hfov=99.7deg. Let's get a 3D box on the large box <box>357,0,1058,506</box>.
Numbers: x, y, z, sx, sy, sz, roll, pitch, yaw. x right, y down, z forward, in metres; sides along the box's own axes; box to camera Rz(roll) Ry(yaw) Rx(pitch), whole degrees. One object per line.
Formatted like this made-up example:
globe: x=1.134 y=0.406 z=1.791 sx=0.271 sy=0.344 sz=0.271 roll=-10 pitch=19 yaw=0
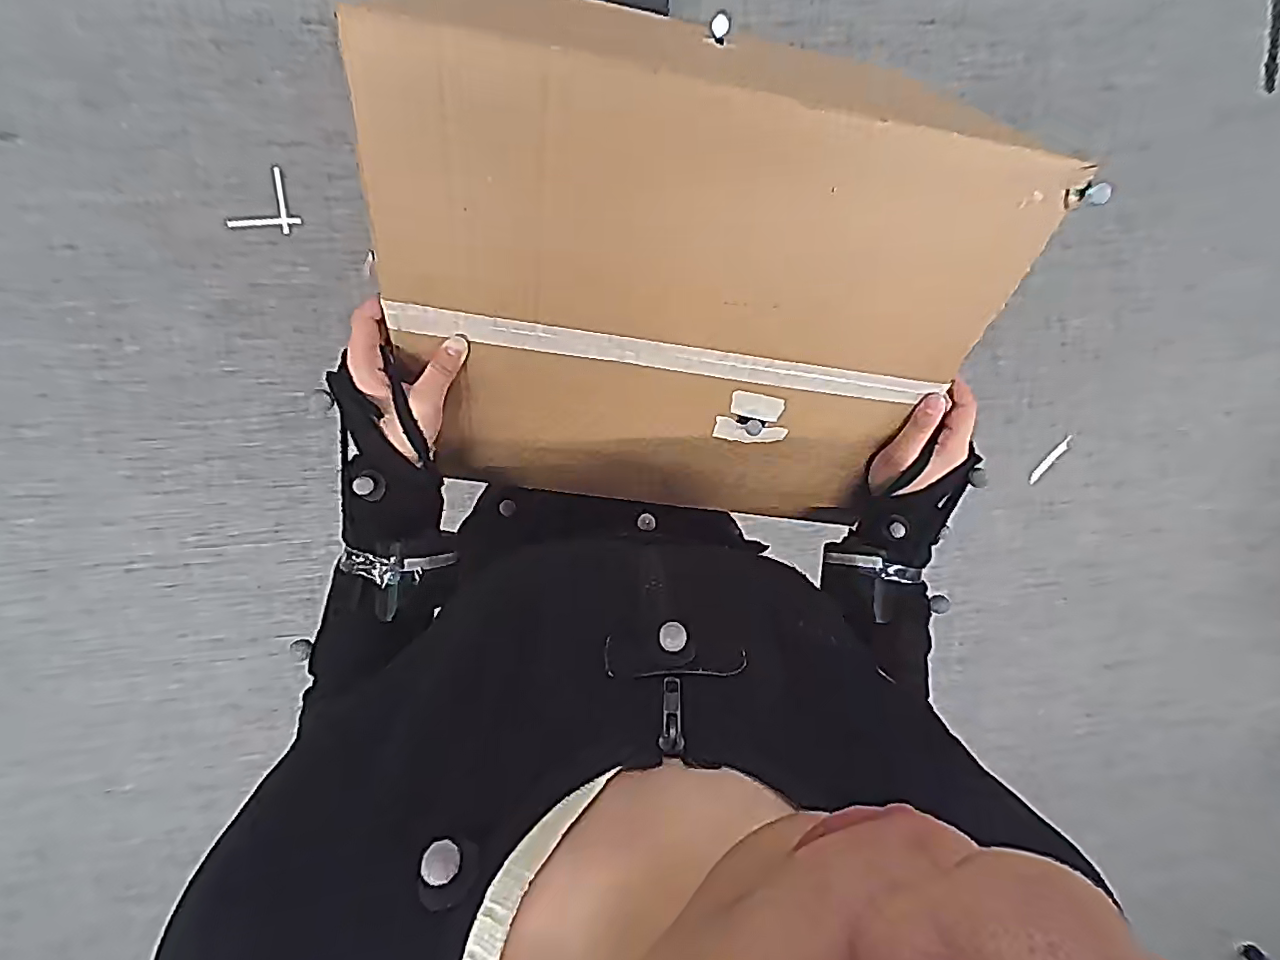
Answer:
large box: x=0.025 y=-0.204 z=0.503 sx=0.408 sy=0.320 sz=0.320 roll=6 pitch=136 yaw=-7
